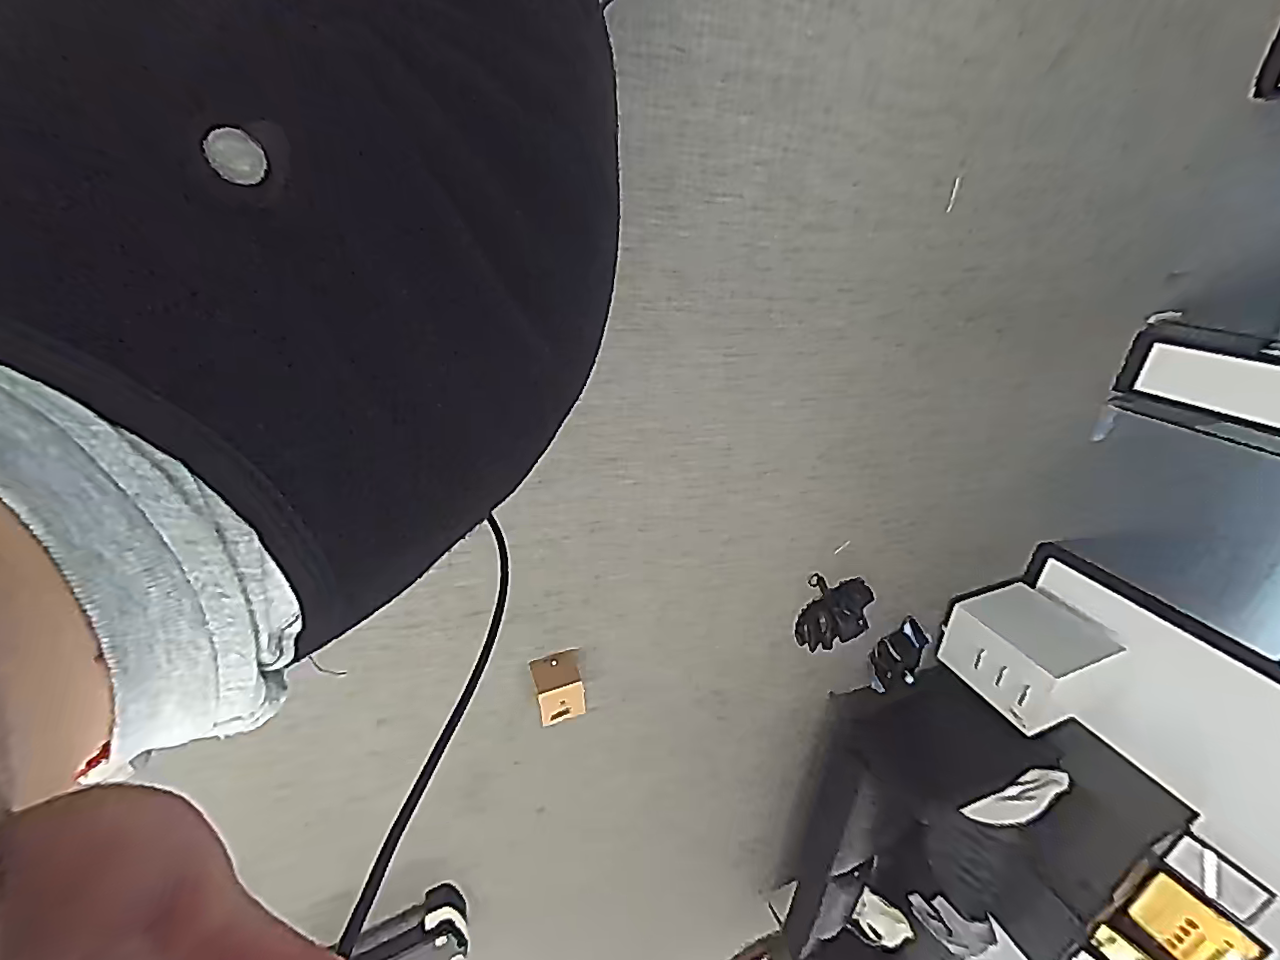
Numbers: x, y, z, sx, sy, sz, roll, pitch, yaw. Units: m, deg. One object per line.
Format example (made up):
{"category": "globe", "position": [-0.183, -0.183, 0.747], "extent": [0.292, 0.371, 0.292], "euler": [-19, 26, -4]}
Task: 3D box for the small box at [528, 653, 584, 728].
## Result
{"category": "small box", "position": [-0.316, 0.786, 2.031], "extent": [0.168, 0.176, 0.179], "euler": [-12, 119, -19]}
